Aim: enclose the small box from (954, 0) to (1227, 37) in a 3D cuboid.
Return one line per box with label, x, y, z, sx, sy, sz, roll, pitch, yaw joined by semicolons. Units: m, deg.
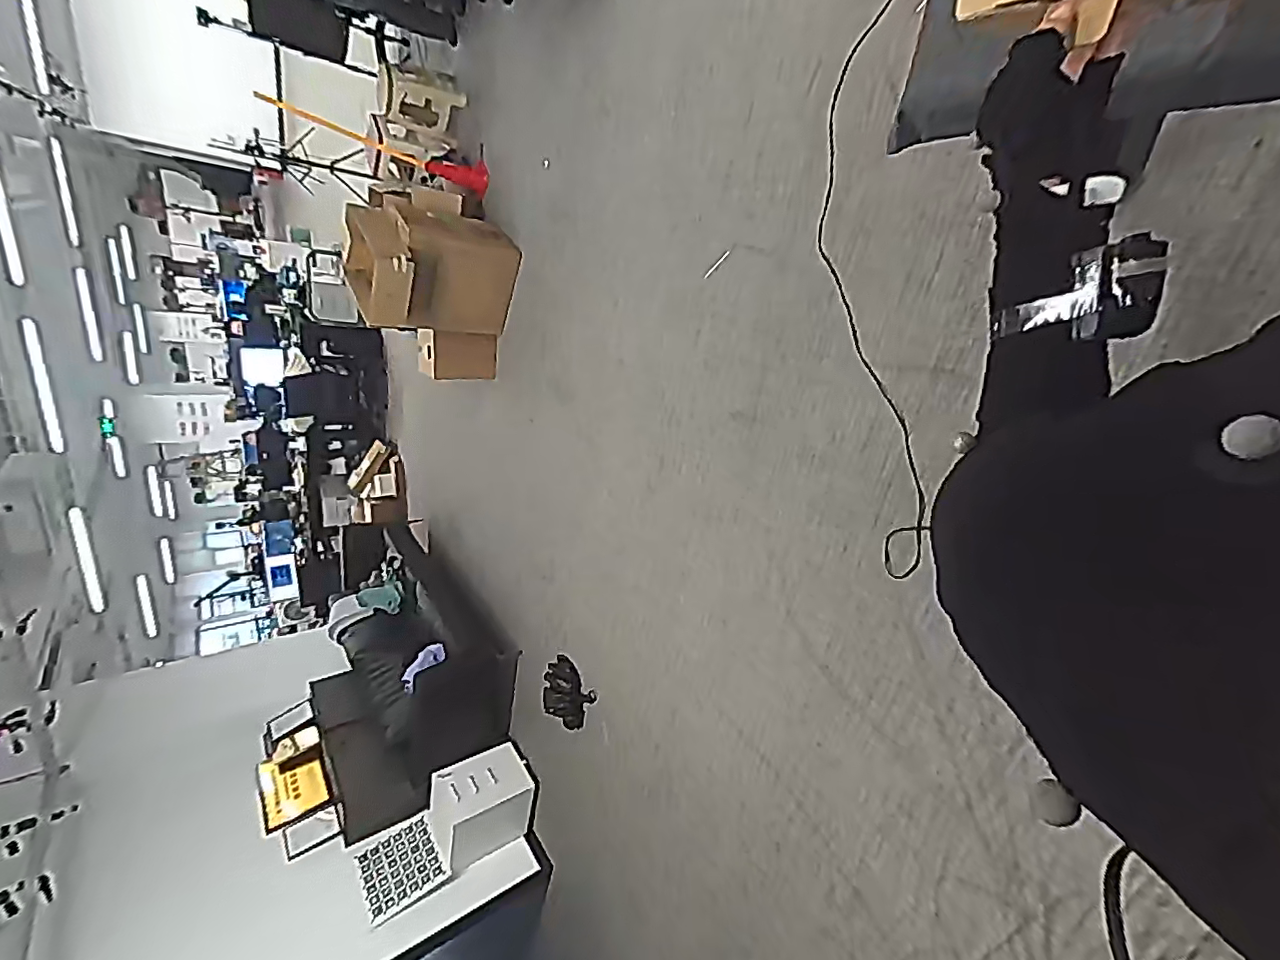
small box;0.352;-0.430;0.366;0.168;0.176;0.179;29;131;48
